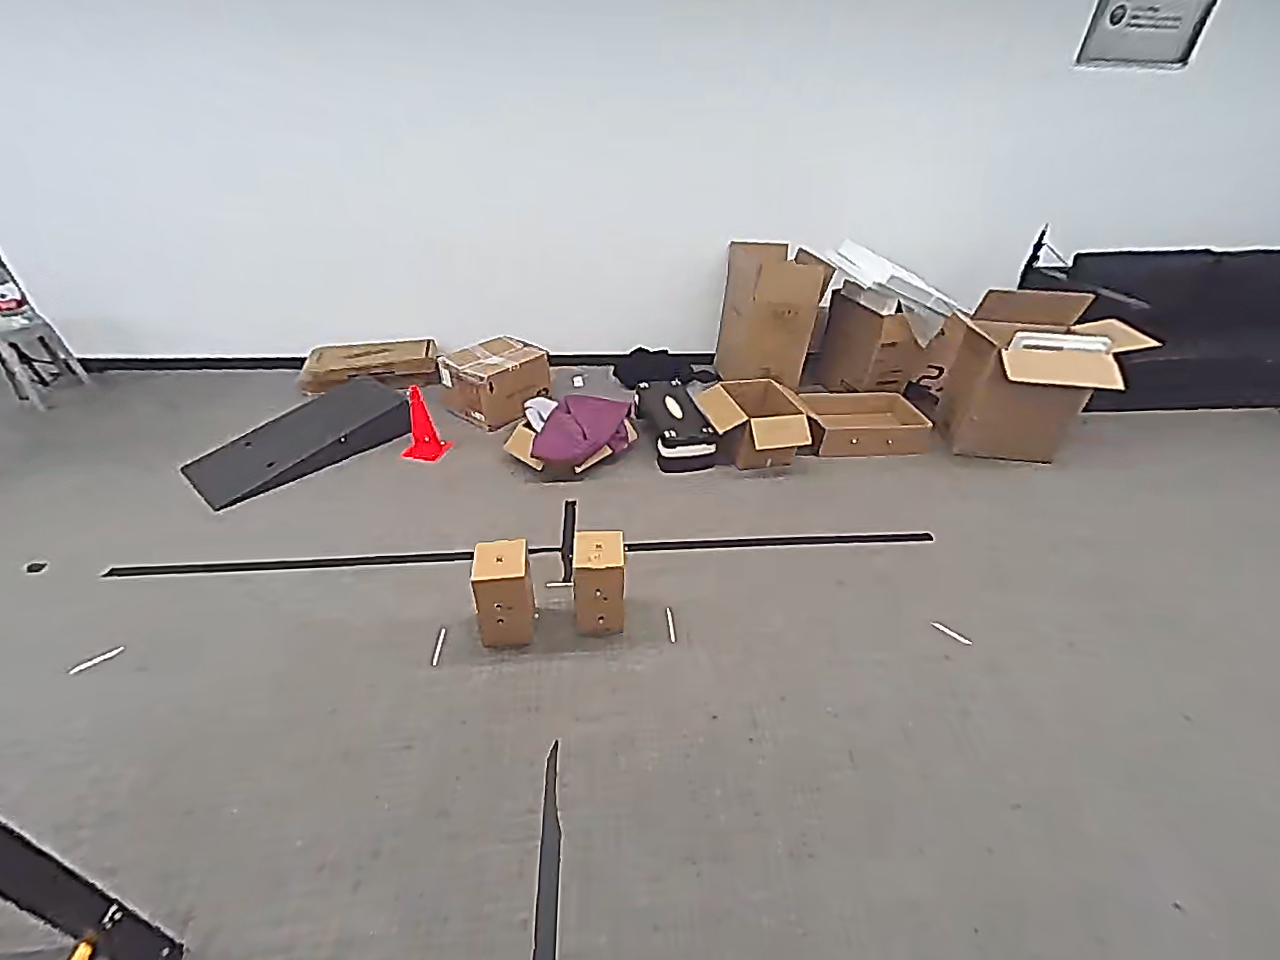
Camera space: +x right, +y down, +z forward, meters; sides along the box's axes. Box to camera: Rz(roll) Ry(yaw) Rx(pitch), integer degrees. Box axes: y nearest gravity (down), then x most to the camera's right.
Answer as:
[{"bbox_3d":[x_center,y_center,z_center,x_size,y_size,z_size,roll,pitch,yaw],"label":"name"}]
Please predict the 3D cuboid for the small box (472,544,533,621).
[{"bbox_3d":[-0.445,0.335,1.774,0.168,0.176,0.179,-6,37,-7],"label":"small box"}]

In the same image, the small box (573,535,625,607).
[{"bbox_3d":[-0.138,0.306,1.826,0.168,0.176,0.179,-1,35,-4],"label":"small box"}]

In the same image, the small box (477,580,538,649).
[{"bbox_3d":[-0.453,0.467,1.868,0.179,0.176,0.168,-3,35,-7],"label":"small box"}]

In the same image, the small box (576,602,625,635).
[{"bbox_3d":[-0.139,0.438,1.927,0.168,0.176,0.179,-2,36,-5],"label":"small box"}]
